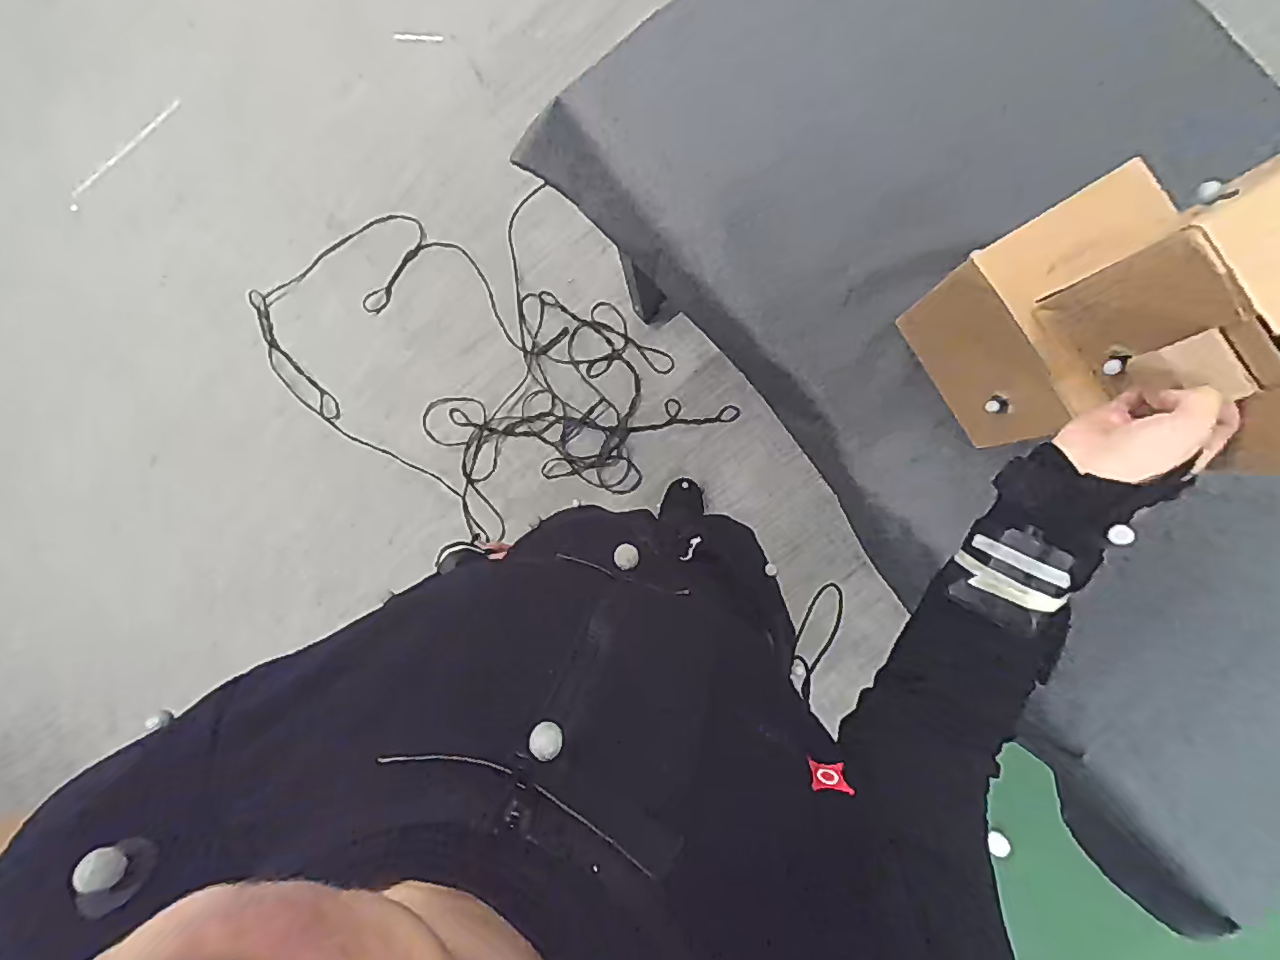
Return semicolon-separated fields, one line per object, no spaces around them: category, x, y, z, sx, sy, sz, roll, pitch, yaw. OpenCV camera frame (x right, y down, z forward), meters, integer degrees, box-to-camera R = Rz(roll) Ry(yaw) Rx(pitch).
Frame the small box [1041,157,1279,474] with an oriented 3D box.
small box;0.429;-0.119;0.357;0.179;0.176;0.168;-33;87;10

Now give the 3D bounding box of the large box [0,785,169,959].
large box;-1.483;1.055;1.298;0.320;0.320;0.408;-39;84;1

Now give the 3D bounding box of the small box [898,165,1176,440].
small box;0.399;-0.151;0.535;0.168;0.176;0.179;-31;85;1
